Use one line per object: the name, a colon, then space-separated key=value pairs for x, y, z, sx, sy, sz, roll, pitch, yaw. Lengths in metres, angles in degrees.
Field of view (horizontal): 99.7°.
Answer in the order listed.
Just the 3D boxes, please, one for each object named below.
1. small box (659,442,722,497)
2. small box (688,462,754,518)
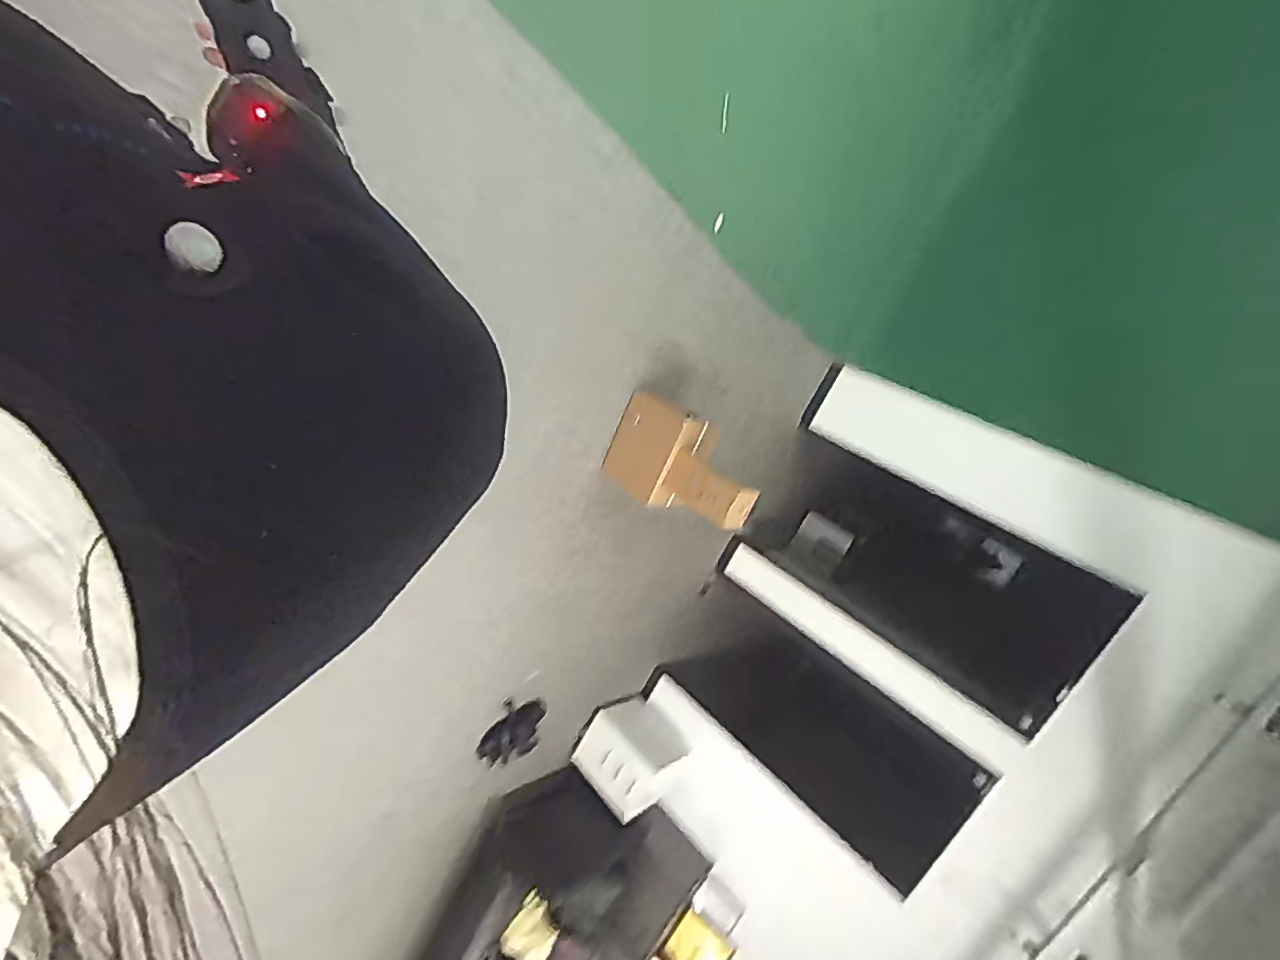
small box: x=0.208 y=-0.042 z=2.265 sx=0.168 sy=0.176 sz=0.179 roll=5 pitch=116 yaw=-54
small box: x=0.323 y=0.039 z=2.182 sx=0.179 sy=0.176 sz=0.168 roll=5 pitch=115 yaw=-53
